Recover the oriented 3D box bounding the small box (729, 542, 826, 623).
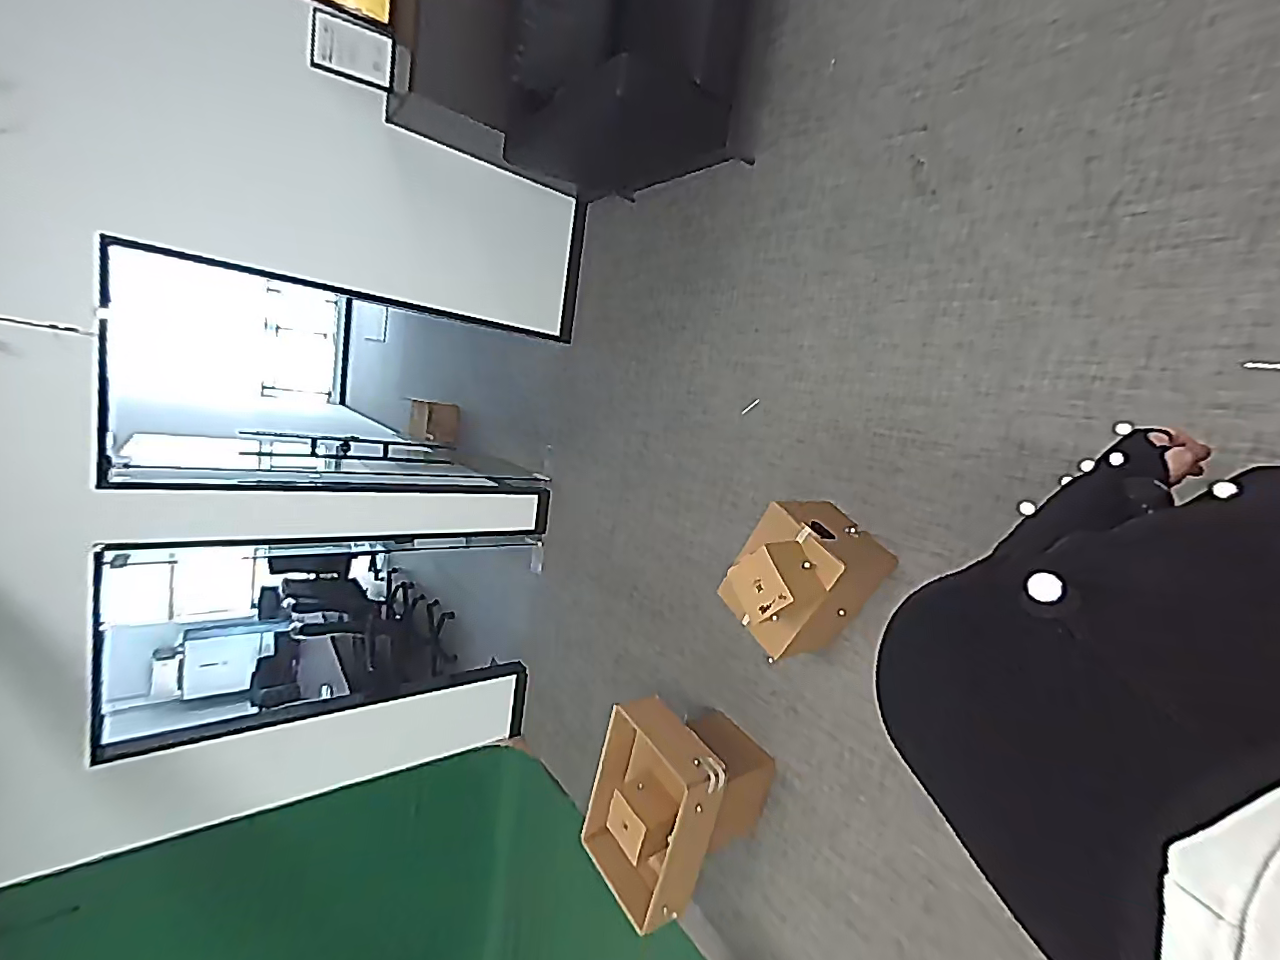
[{"bbox_3d":[0.397,0.292,1.560,0.168,0.176,0.179,-47,55,39],"label":"small box"}]

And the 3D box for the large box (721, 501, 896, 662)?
[{"bbox_3d":[0.543,0.315,1.770,0.320,0.320,0.408,49,126,41],"label":"large box"}]
